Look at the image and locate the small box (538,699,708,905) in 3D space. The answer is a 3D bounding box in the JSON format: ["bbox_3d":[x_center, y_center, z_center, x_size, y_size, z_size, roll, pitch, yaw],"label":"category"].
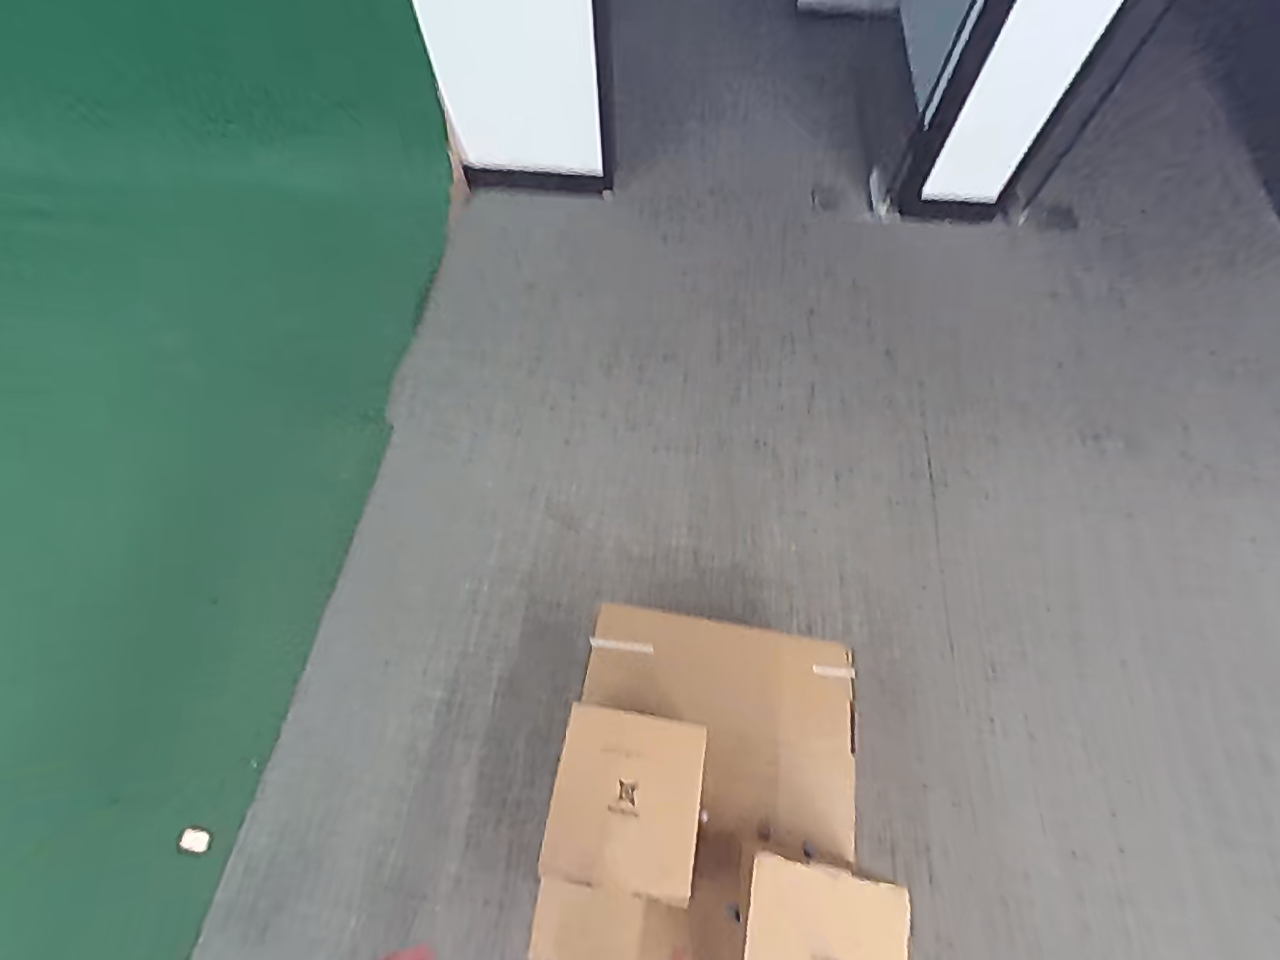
[{"bbox_3d":[-0.013,0.392,0.677,0.168,0.176,0.179,9,61,5],"label":"small box"}]

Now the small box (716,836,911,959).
[{"bbox_3d":[0.183,0.520,0.604,0.168,0.176,0.179,11,62,6],"label":"small box"}]
